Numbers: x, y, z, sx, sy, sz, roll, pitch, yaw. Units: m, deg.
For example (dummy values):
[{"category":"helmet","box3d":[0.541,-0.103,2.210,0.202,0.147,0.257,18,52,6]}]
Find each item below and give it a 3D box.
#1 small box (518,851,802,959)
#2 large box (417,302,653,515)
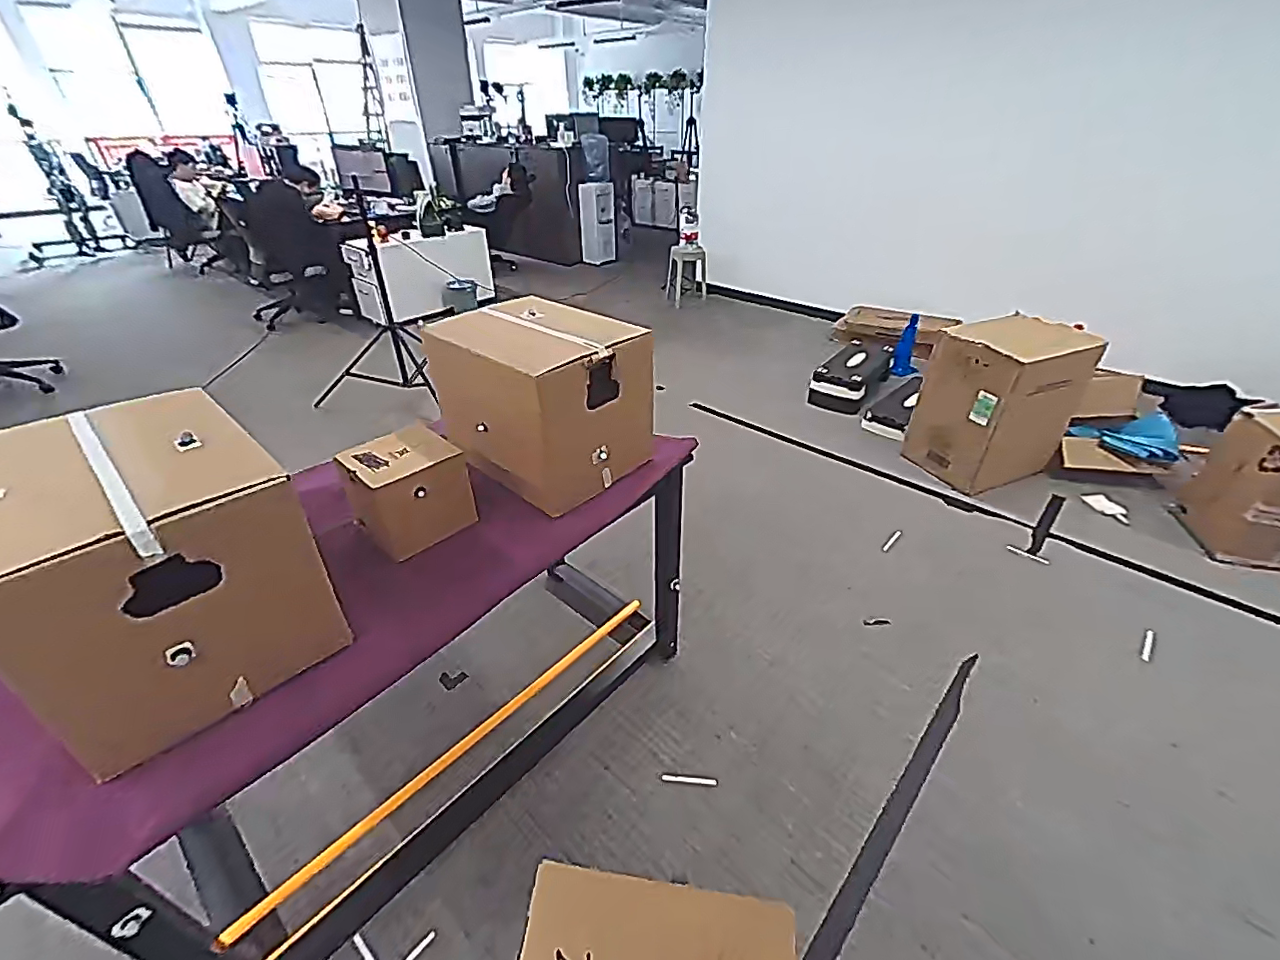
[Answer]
[{"category":"small box","box3d":[0.008,0.375,0.365,0.179,0.176,0.168,4,46,7]},{"category":"large box","box3d":[-0.219,-0.177,1.205,0.408,0.320,0.320,25,41,35]}]
